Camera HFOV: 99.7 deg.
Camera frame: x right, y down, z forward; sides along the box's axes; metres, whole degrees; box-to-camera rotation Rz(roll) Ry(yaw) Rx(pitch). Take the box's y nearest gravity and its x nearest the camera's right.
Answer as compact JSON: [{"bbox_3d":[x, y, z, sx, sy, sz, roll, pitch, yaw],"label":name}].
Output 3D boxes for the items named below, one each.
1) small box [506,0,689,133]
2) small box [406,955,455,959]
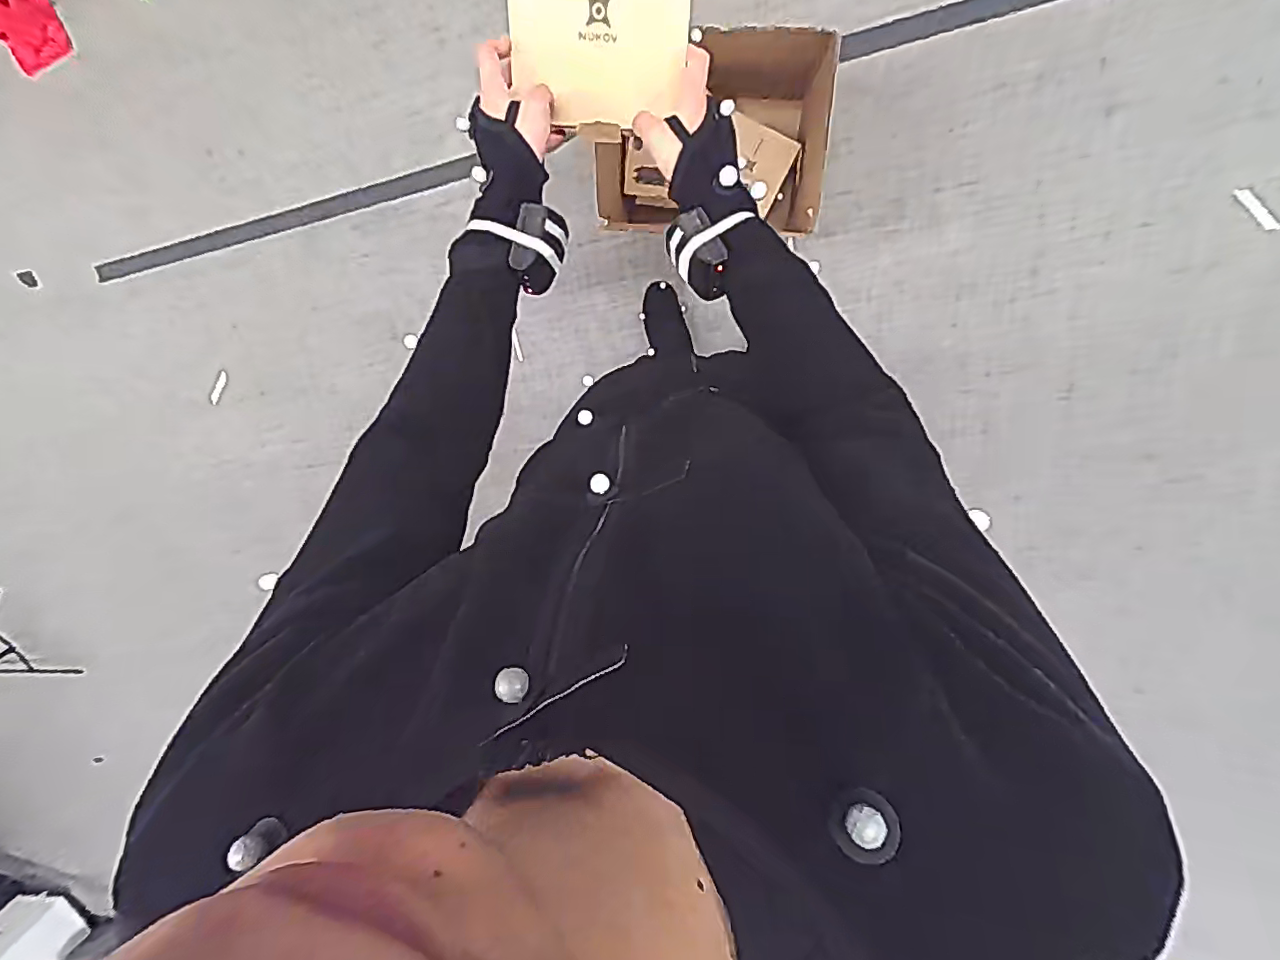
[{"bbox_3d":[-0.035,-0.463,0.551,0.168,0.176,0.179,3,122,0],"label":"small box"},{"bbox_3d":[-0.623,1.511,1.555,0.179,0.176,0.168,-11,110,14],"label":"small box"}]
